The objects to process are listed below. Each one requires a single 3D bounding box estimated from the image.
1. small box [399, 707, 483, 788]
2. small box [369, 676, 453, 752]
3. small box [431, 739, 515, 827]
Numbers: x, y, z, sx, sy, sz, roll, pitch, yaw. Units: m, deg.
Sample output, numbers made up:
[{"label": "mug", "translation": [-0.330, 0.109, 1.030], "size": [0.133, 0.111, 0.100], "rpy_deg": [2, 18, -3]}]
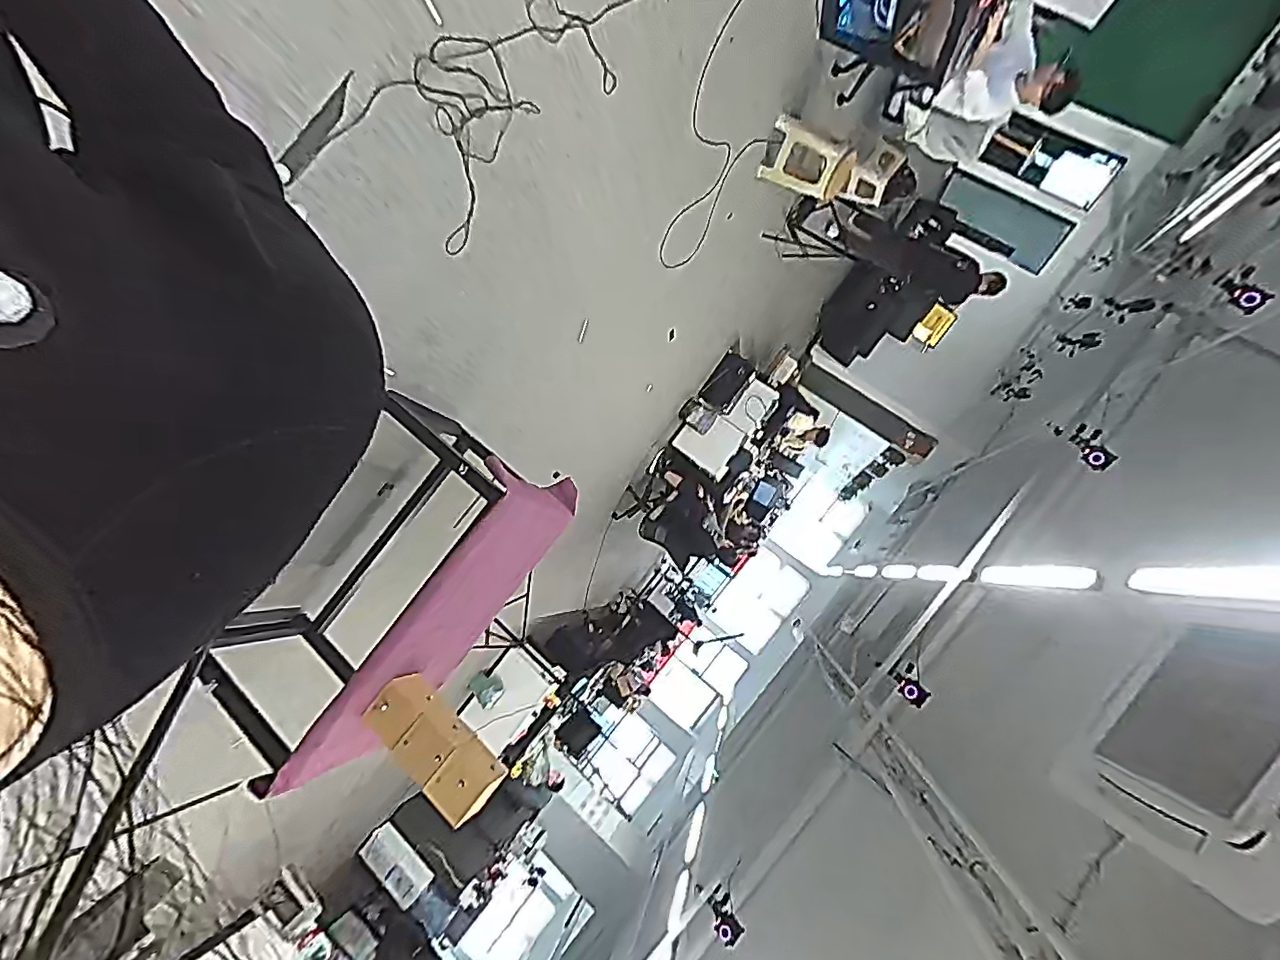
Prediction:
[{"label": "small box", "translation": [-0.684, 0.912, 1.864], "size": [0.168, 0.176, 0.179], "rpy_deg": [-52, 165, -5]}, {"label": "small box", "translation": [-0.808, 0.817, 1.913], "size": [0.168, 0.176, 0.179], "rpy_deg": [-52, 164, -3]}, {"label": "small box", "translation": [-0.561, 1.007, 1.813], "size": [0.168, 0.176, 0.179], "rpy_deg": [-52, 165, -5]}]
